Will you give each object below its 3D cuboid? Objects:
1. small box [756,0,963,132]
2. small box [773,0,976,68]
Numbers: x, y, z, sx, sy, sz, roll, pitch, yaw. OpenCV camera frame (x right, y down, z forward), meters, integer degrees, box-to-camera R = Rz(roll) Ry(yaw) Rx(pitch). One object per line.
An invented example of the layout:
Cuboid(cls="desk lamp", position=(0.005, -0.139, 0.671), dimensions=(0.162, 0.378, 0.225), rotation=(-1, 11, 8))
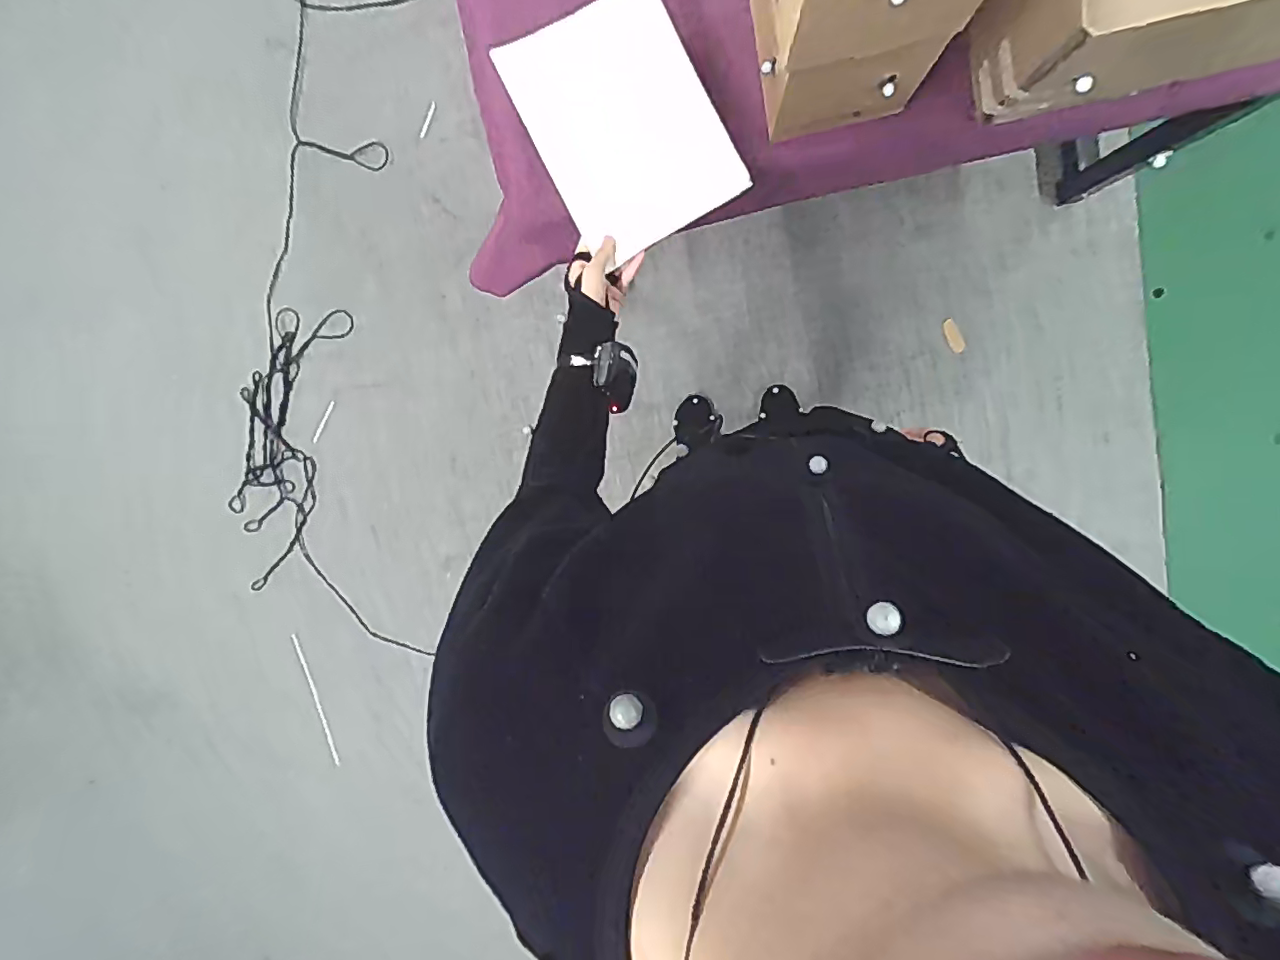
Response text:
Cuboid(cls="small box", position=(0.228, -0.521, 0.600), dimensions=(0.168, 0.176, 0.179), rotation=(-9, 96, 7))
Cuboid(cls="small box", position=(0.206, -0.487, 0.441), dimensions=(0.179, 0.176, 0.168), rotation=(-9, 96, 7))
